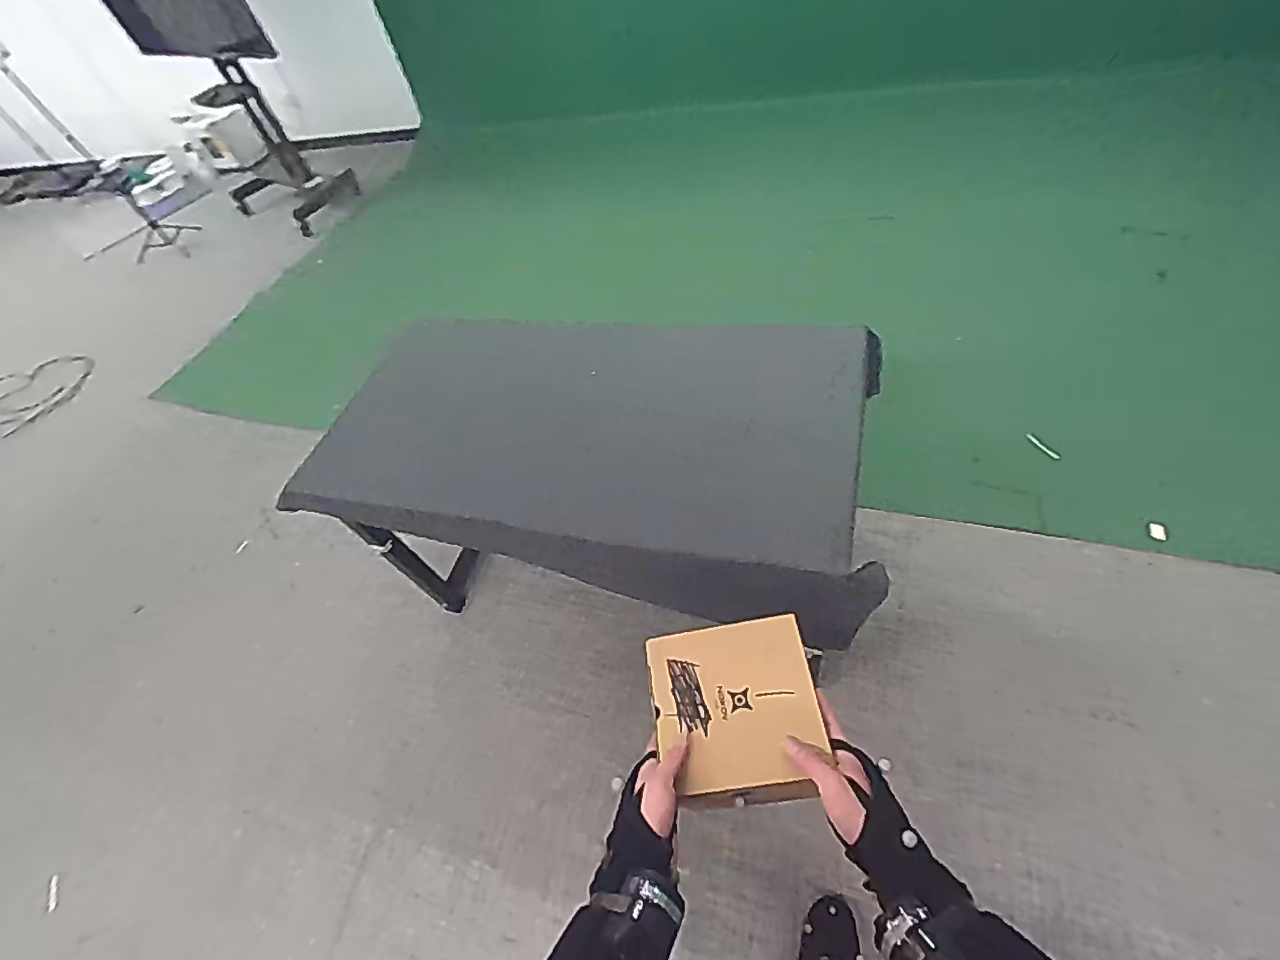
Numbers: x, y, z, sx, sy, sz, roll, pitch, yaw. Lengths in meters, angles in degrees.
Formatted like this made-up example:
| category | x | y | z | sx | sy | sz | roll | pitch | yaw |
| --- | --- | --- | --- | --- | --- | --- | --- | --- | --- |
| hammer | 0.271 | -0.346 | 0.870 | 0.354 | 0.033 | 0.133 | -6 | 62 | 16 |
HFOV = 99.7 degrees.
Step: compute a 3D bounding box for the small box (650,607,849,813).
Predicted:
| category | x | y | z | sx | sy | sz | roll | pitch | yaw |
| --- | --- | --- | --- | --- | --- | --- | --- | --- | --- |
| small box | 0.120 | 0.269 | 0.619 | 0.179 | 0.176 | 0.168 | -12 | 52 | 5 |
